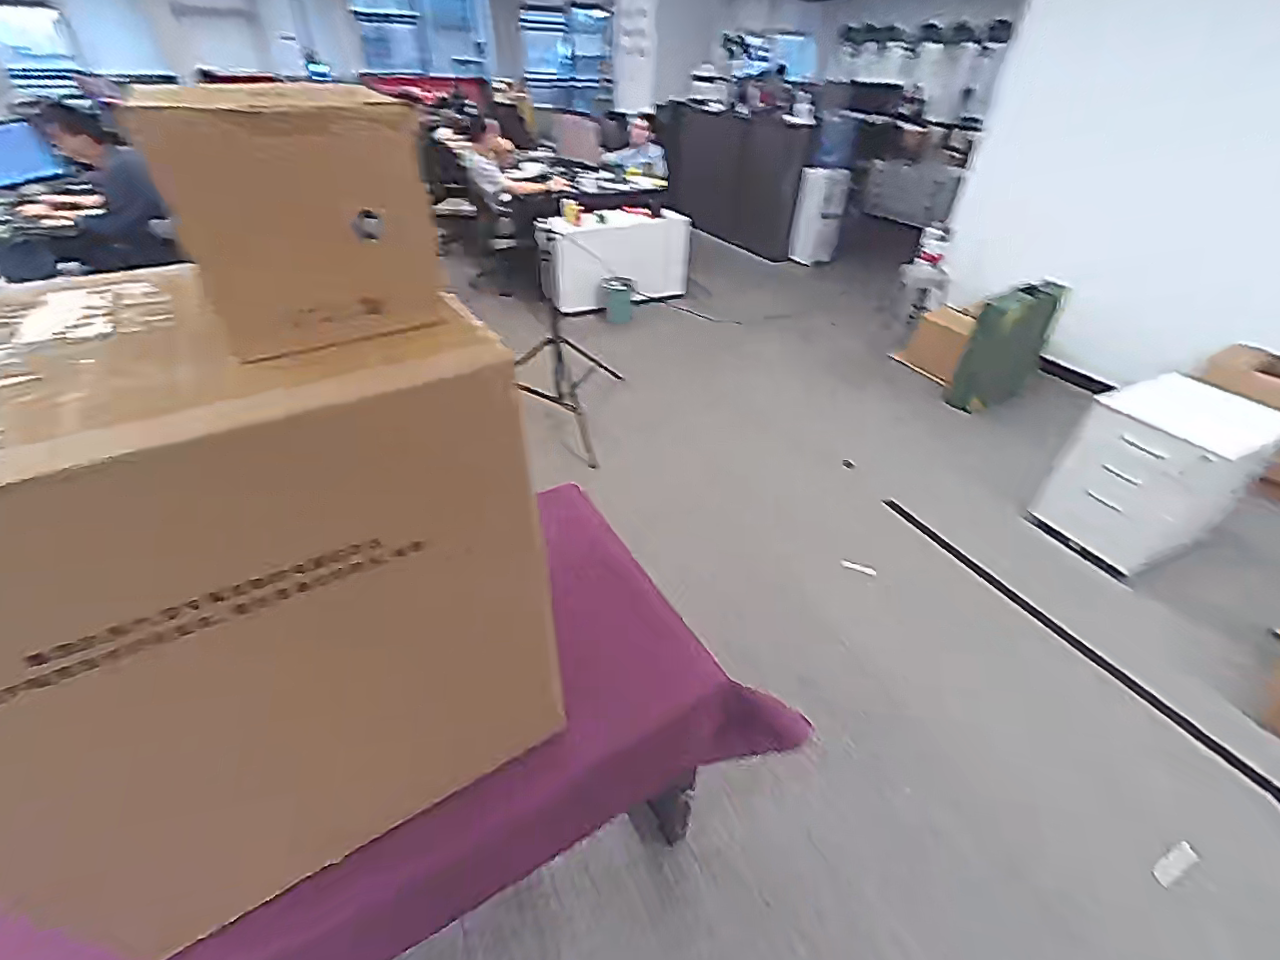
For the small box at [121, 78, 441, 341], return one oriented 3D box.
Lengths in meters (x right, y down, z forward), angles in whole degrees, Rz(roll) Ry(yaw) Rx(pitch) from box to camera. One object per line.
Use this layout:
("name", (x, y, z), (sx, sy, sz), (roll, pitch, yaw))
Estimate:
("small box", (-0.285, -0.229, 0.456), (0.168, 0.176, 0.179), (-21, 43, -27))
